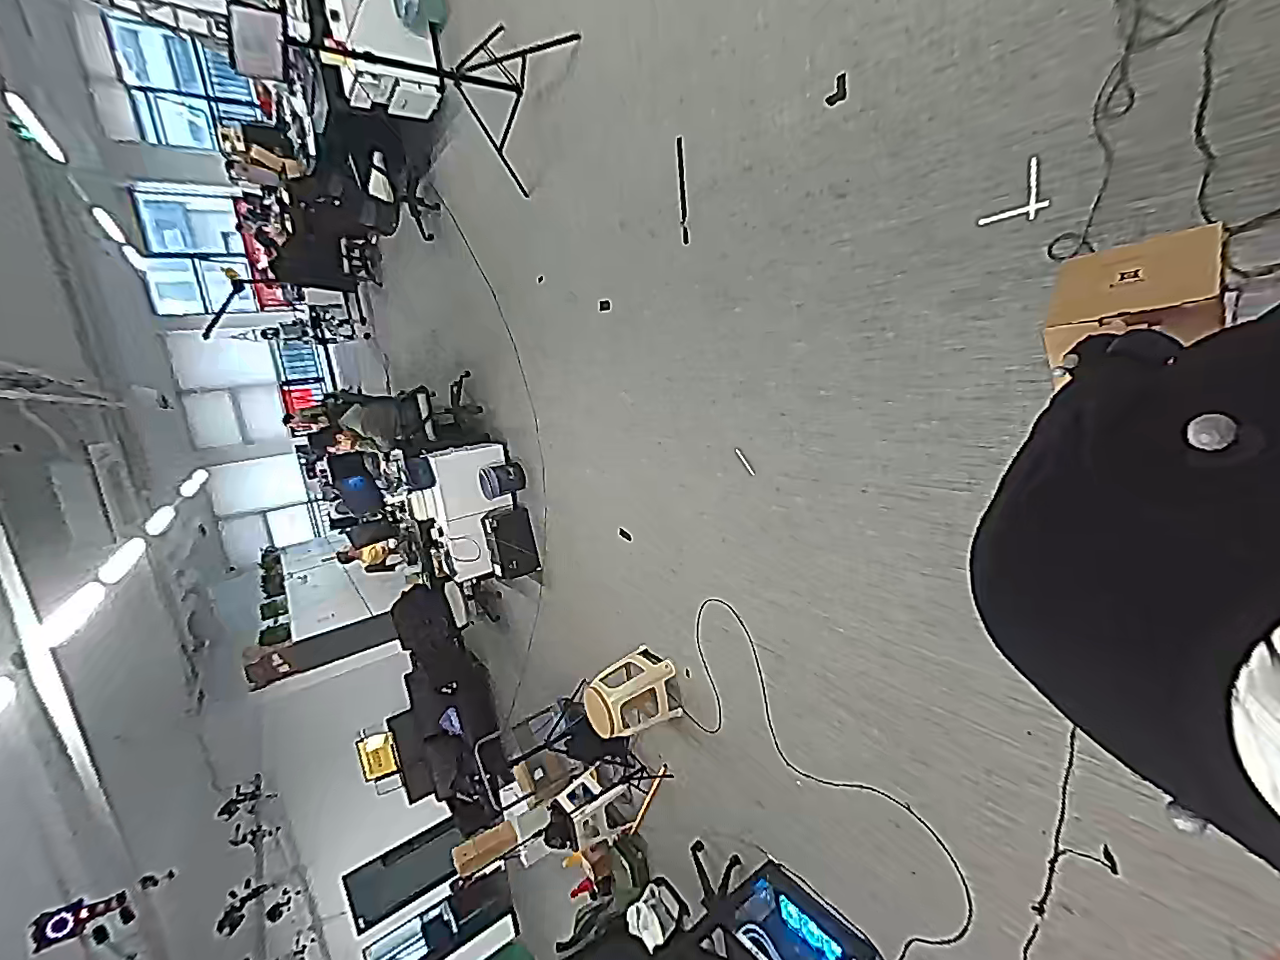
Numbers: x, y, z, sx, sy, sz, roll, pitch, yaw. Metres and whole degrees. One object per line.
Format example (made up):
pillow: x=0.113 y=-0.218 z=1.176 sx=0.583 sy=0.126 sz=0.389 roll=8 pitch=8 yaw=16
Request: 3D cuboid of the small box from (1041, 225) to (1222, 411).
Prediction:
small box: x=0.684 y=-0.208 z=0.750 sx=0.168 sy=0.179 sz=0.176 roll=1 pitch=136 yaw=47
